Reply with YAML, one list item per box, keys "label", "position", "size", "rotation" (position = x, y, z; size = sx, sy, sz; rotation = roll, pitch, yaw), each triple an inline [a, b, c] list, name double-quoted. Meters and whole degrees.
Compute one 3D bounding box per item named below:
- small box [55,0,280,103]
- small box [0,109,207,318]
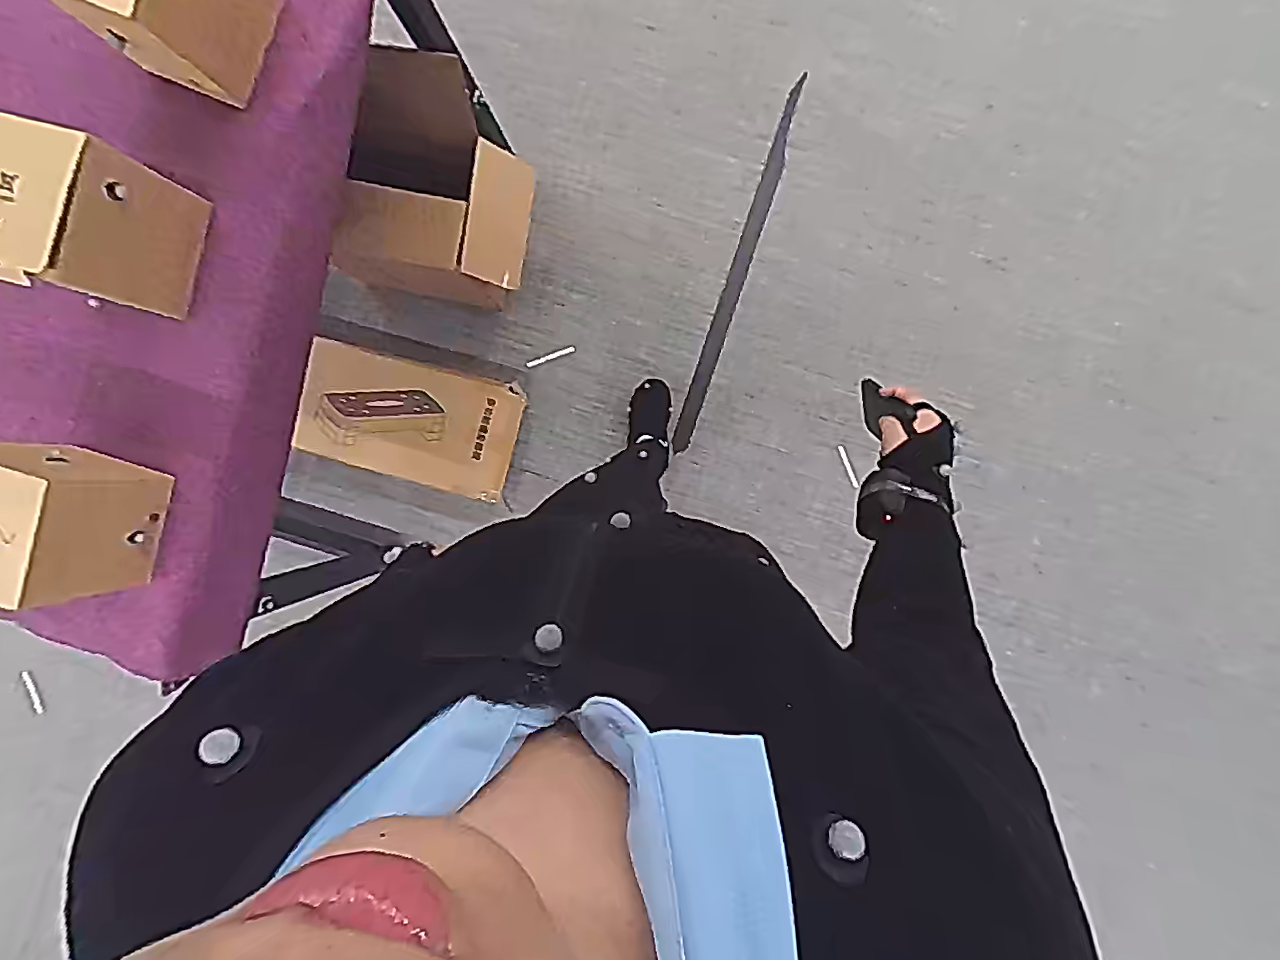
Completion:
- label: "small box"
  position: [-0.607, -0.633, 0.688]
  size: [0.168, 0.176, 0.179]
  rotation: [23, 92, 3]
- label: "small box"
  position: [-0.716, -0.335, 0.702]
  size: [0.168, 0.176, 0.179]
  rotation: [16, 92, 6]
